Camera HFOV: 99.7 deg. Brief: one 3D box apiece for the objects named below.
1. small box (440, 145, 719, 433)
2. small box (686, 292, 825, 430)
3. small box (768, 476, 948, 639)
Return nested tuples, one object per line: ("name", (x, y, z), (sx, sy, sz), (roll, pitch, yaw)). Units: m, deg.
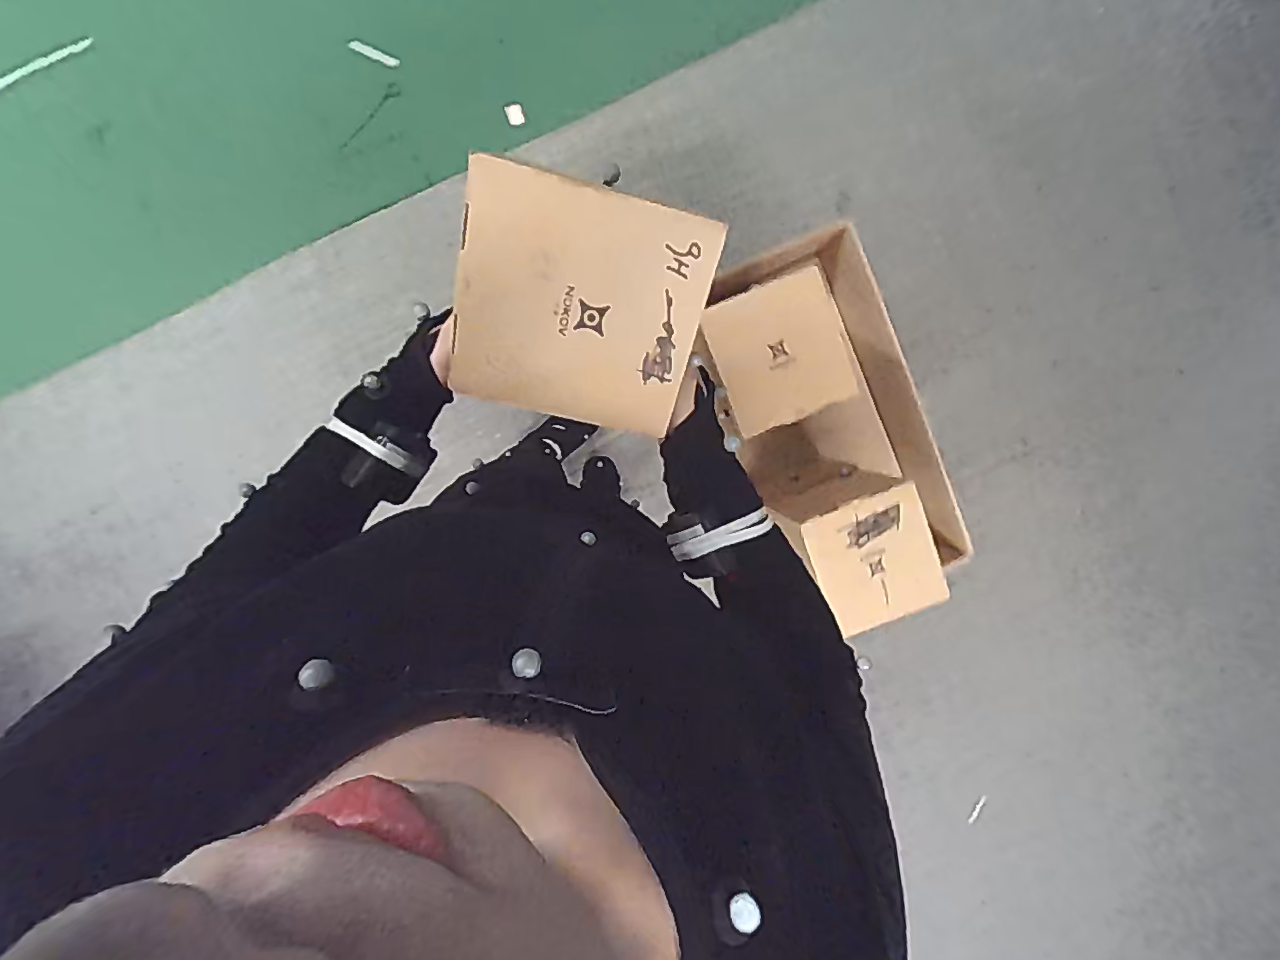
("small box", (-0.051, -0.162, 0.459), (0.179, 0.176, 0.168), (12, 118, -8))
("small box", (0.187, -0.195, 0.929), (0.168, 0.176, 0.179), (-21, 98, 1))
("small box", (0.308, 0.100, 0.799), (0.168, 0.176, 0.179), (-20, 97, 0))
